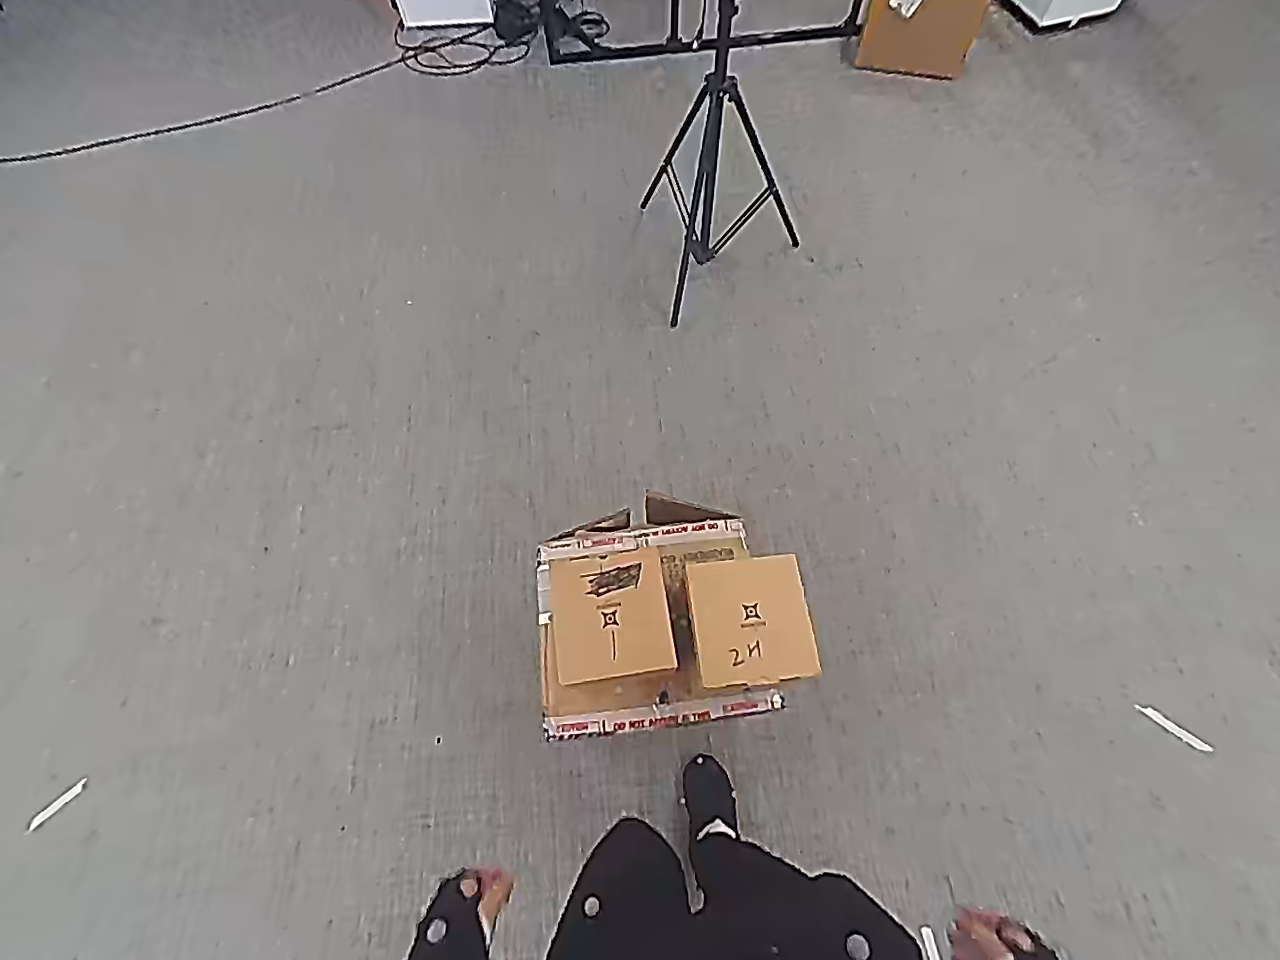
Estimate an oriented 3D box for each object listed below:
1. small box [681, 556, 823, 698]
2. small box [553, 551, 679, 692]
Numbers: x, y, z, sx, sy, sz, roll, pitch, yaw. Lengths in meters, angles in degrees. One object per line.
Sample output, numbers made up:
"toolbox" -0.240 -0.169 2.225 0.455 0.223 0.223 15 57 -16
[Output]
"small box" 0.159 0.231 0.834 0.168 0.176 0.179 -6 66 -2
"small box" -0.036 0.225 0.842 0.168 0.176 0.179 -9 68 -1
